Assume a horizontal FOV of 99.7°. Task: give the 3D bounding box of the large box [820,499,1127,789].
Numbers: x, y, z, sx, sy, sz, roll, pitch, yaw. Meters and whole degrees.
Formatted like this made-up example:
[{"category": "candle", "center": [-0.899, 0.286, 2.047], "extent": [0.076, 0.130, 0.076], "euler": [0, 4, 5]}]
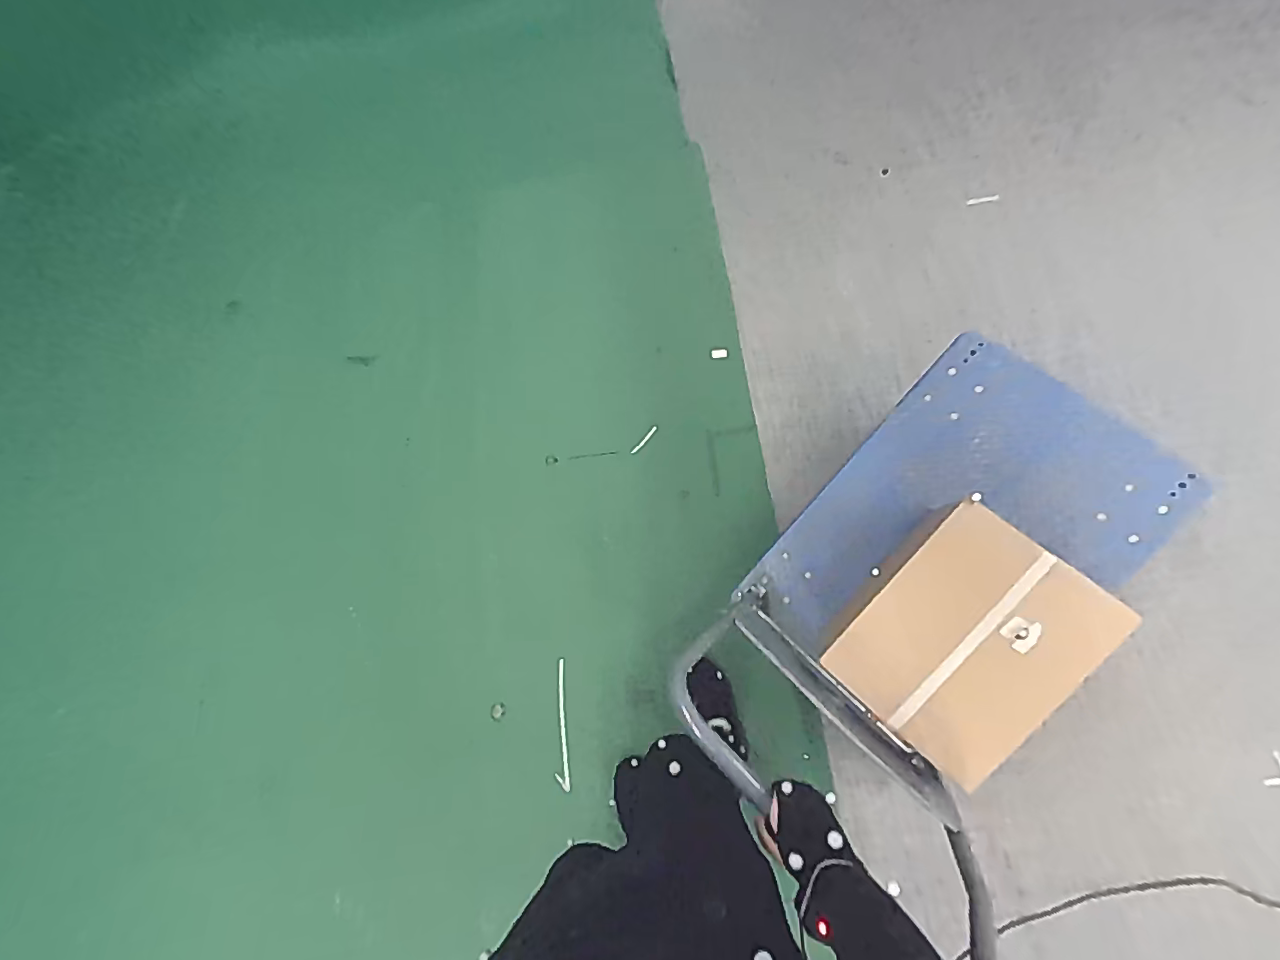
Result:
[{"category": "large box", "center": [0.611, 0.300, 1.084], "extent": [0.320, 0.320, 0.408], "euler": [40, 95, 18]}]
